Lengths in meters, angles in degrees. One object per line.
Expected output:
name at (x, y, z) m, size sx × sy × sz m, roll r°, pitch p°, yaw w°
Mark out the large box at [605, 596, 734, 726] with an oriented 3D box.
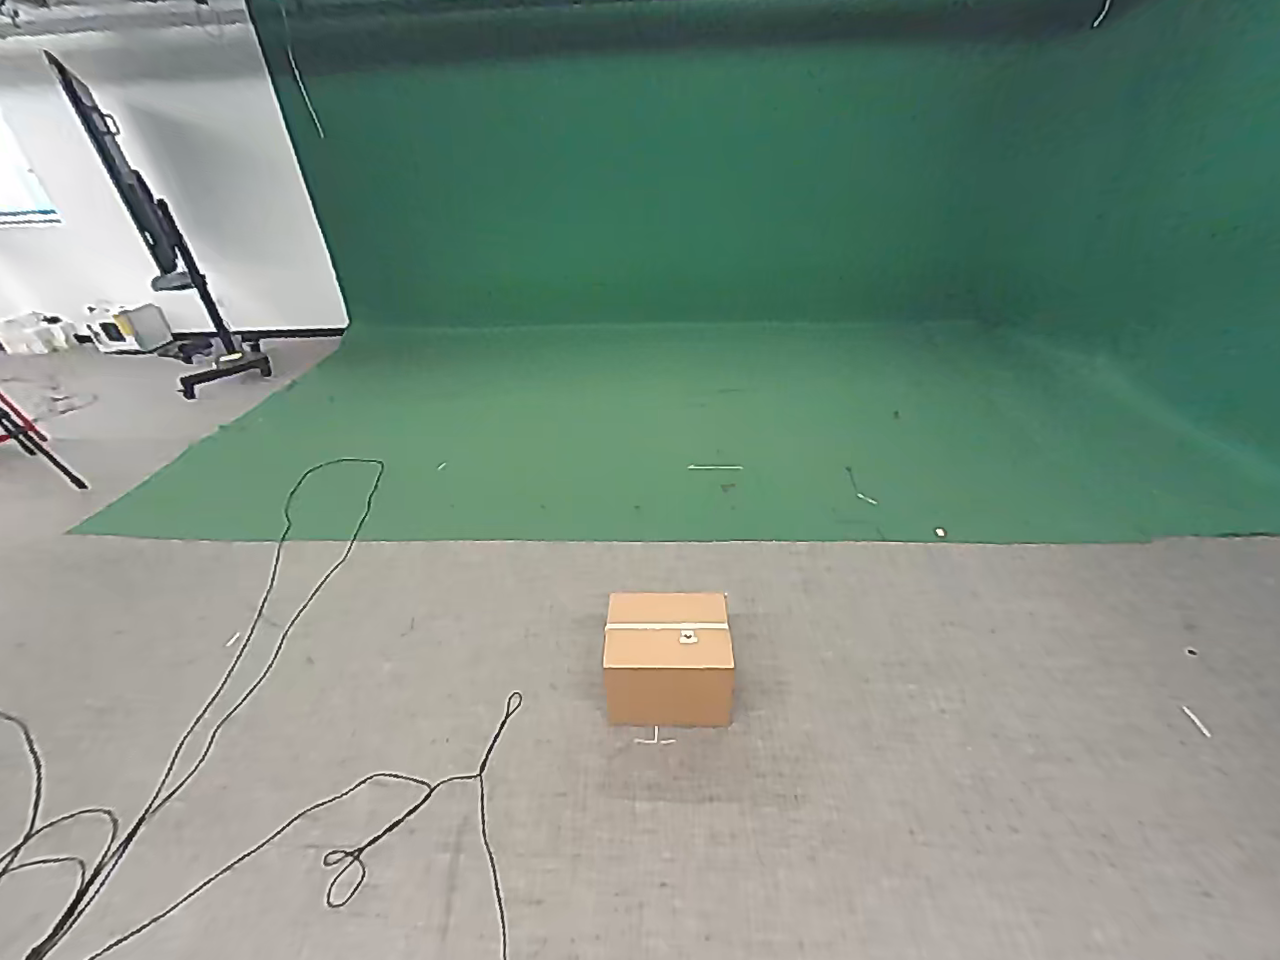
large box at (0.094, 0.620, 1.860) m, size 0.408 × 0.320 × 0.320 m, roll -1°, pitch 33°, yaw 2°
